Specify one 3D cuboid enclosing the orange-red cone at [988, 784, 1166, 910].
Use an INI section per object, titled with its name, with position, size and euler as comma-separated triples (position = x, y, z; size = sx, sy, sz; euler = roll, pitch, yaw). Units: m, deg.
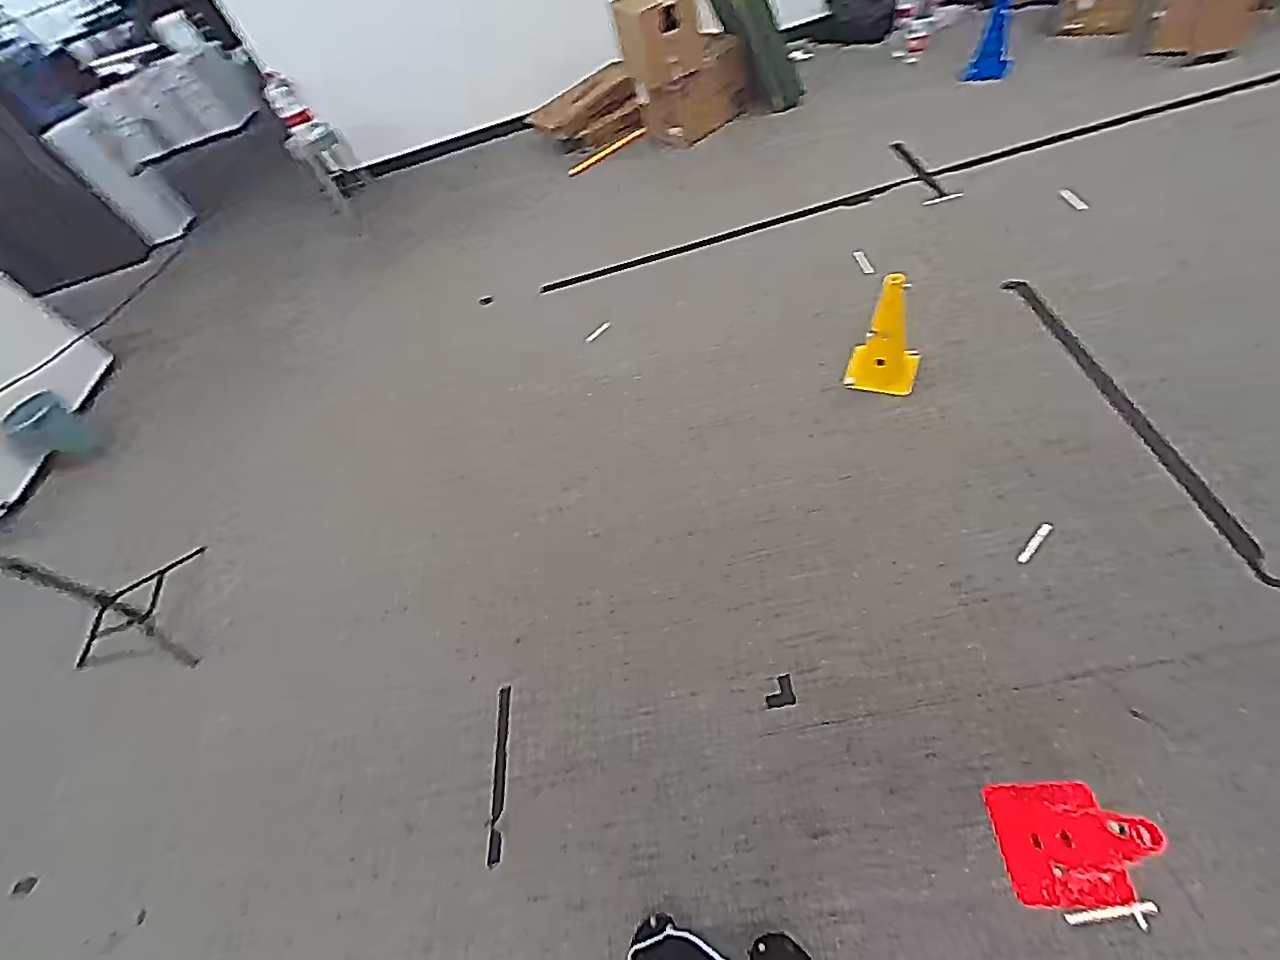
[orange-red cone]
position = 0.758, 0.594, 0.899
size = 0.198, 0.360, 0.199
euler = -7, 52, 11
